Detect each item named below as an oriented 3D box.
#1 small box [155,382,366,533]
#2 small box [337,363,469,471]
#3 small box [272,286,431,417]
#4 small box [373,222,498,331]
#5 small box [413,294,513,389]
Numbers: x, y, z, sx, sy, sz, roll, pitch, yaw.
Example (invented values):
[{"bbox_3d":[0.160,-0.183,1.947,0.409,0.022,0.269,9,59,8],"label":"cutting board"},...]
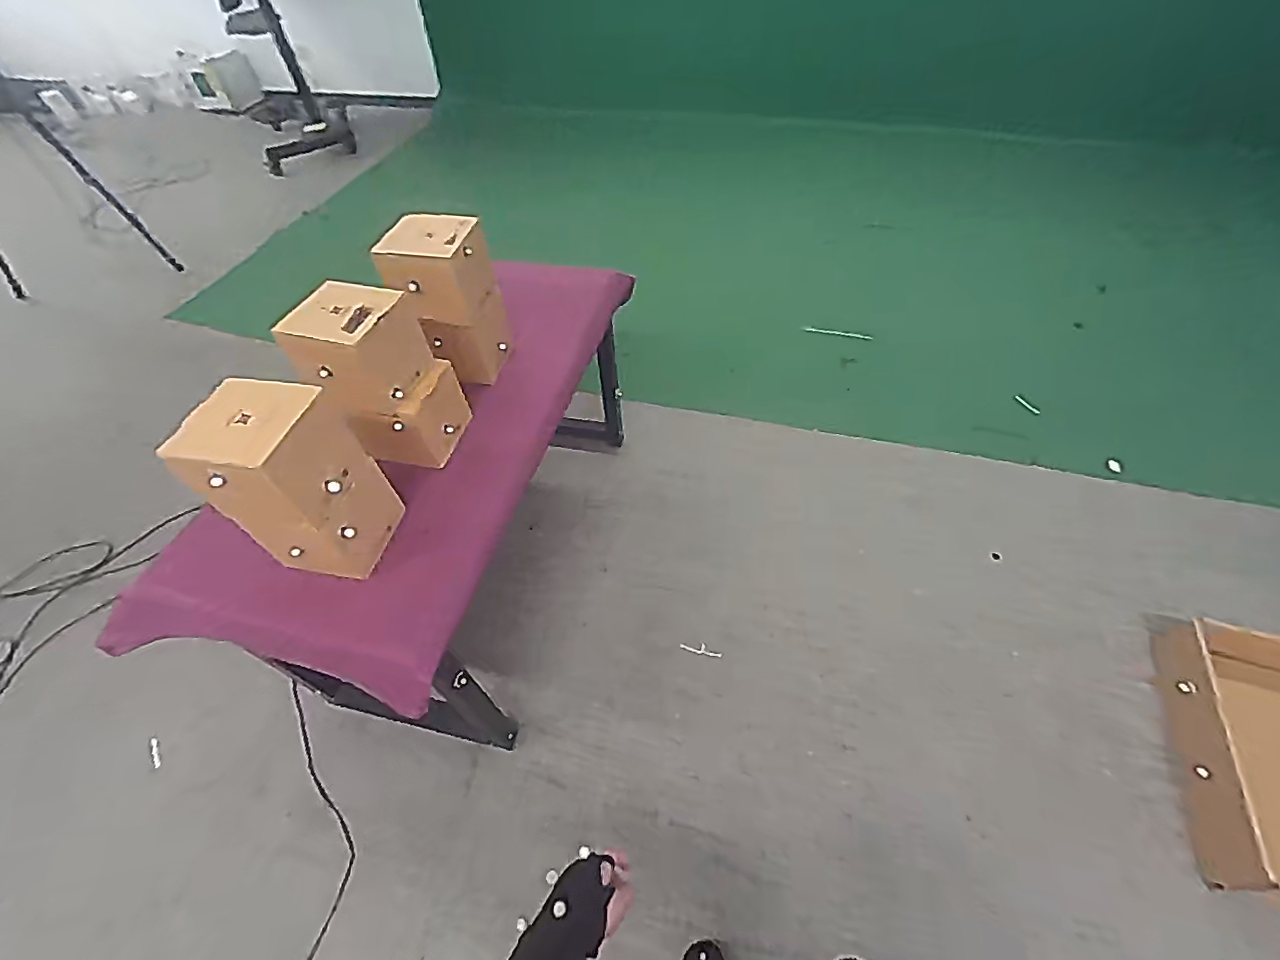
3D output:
[{"bbox_3d":[-0.584,-0.033,0.861,0.179,0.176,0.168,8,52,9],"label":"small box"},{"bbox_3d":[-0.495,-0.137,1.156,0.179,0.176,0.168,9,52,9],"label":"small box"},{"bbox_3d":[-0.532,-0.241,1.030,0.179,0.176,0.168,12,52,12],"label":"small box"},{"bbox_3d":[-0.438,-0.444,1.187,0.179,0.176,0.168,6,52,9],"label":"small box"},{"bbox_3d":[-0.430,-0.340,1.314,0.179,0.176,0.168,8,52,9],"label":"small box"}]
